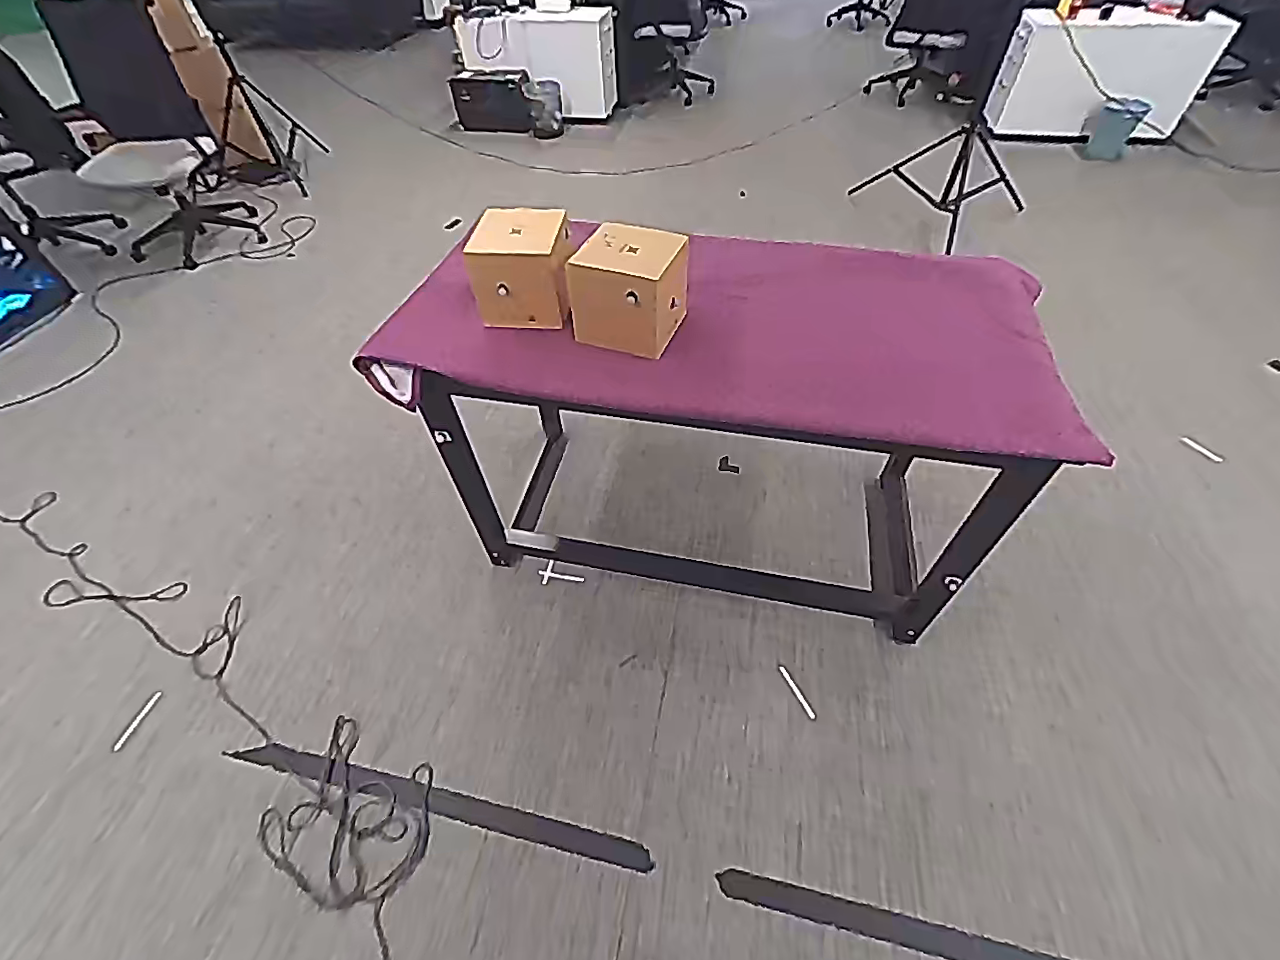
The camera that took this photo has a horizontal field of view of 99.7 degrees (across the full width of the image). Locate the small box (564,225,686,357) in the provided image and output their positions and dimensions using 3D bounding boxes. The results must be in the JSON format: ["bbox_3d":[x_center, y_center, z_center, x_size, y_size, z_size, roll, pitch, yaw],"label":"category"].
[{"bbox_3d":[-0.022,-0.358,1.035,0.179,0.176,0.168,16,52,15],"label":"small box"}]

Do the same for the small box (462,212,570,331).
[{"bbox_3d":[-0.237,-0.420,1.098,0.168,0.176,0.179,2,51,4],"label":"small box"}]
